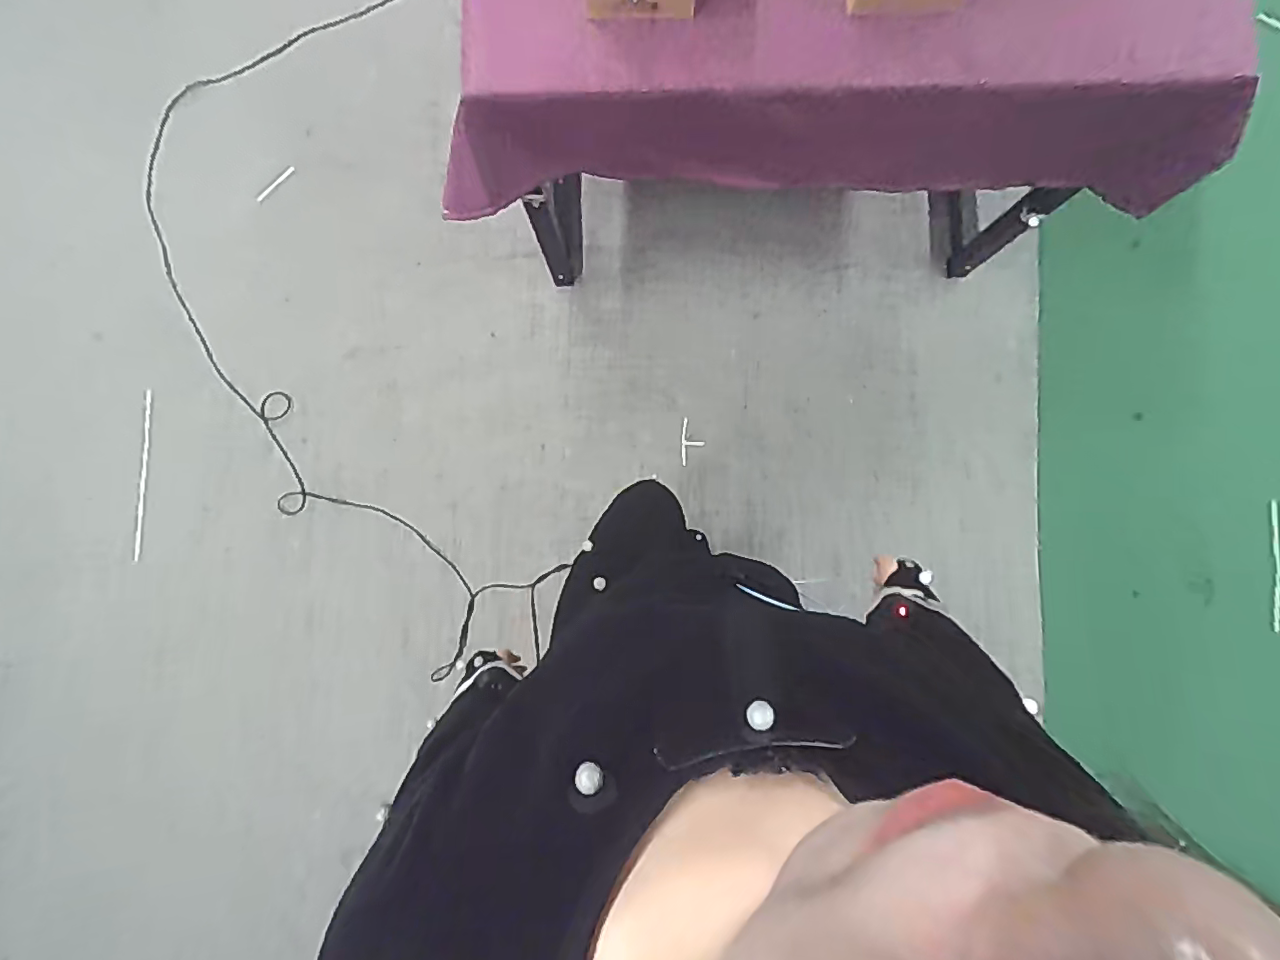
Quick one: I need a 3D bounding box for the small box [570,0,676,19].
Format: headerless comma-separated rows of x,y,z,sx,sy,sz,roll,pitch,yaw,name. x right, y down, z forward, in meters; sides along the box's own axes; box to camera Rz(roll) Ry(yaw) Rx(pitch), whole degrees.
-0.028,-0.805,0.759,0.168,0.176,0.179,-2,87,0,small box
